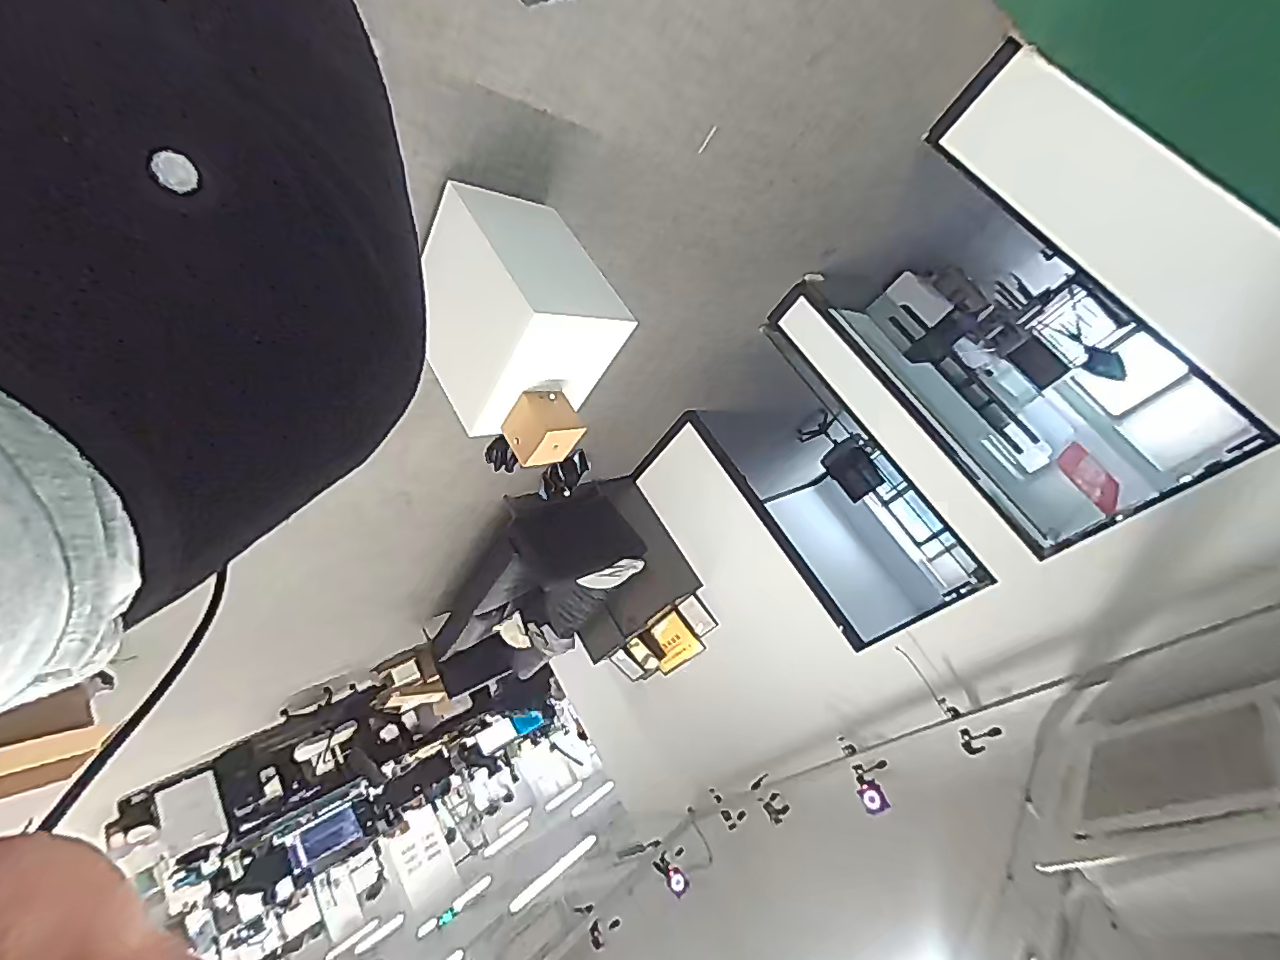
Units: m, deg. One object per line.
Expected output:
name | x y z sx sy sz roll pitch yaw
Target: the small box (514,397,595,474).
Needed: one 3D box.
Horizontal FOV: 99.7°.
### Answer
small box | -0.281 -0.146 1.731 0.168 0.176 0.179 -14 151 -47
